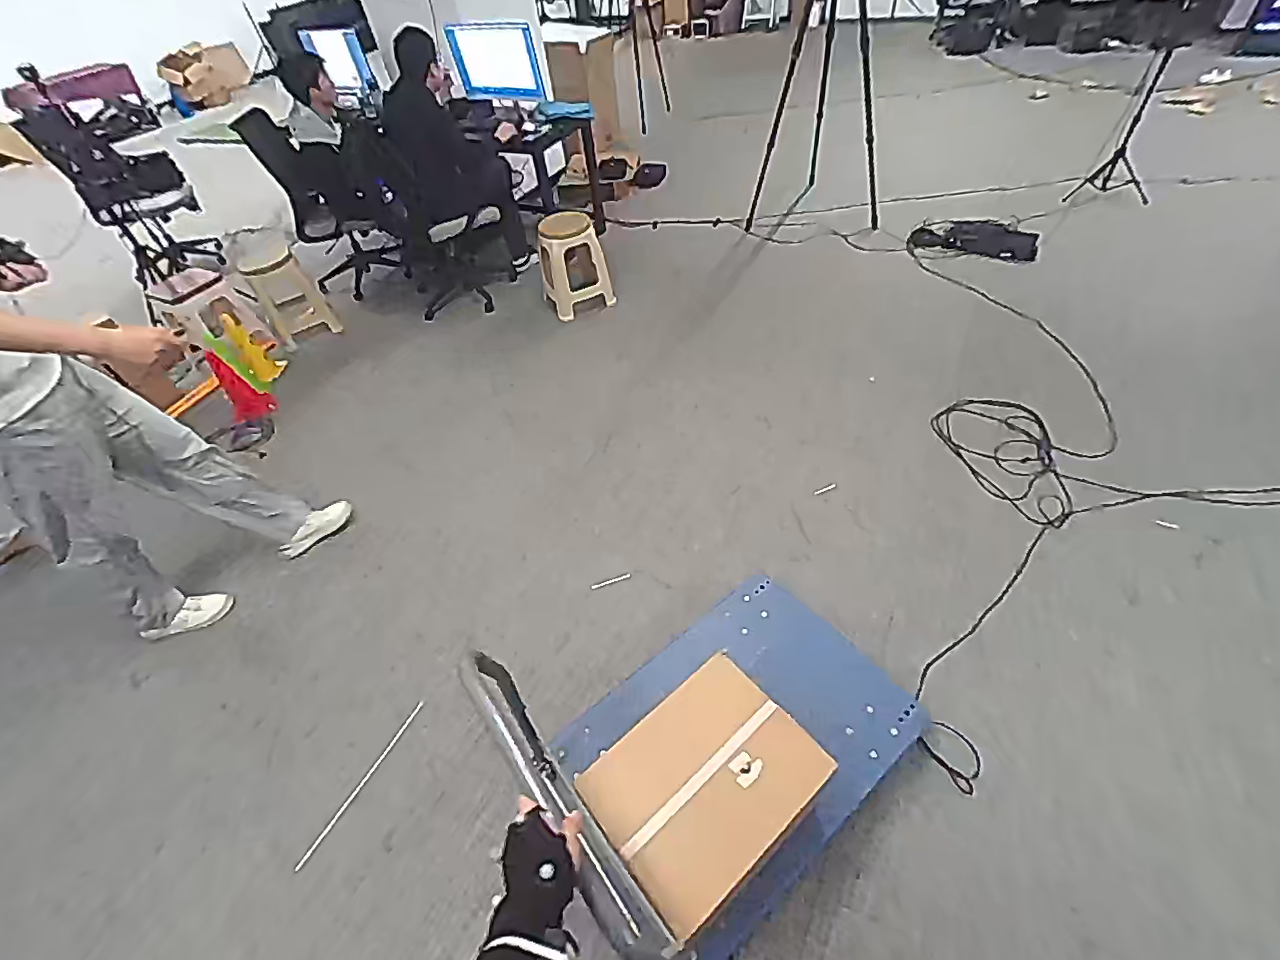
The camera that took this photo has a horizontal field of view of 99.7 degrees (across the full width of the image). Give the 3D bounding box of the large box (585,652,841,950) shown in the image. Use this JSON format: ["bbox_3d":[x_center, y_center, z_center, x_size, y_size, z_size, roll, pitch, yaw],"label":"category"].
[{"bbox_3d":[0.148,0.659,1.132,0.408,0.320,0.320,-34,53,-23],"label":"large box"}]
